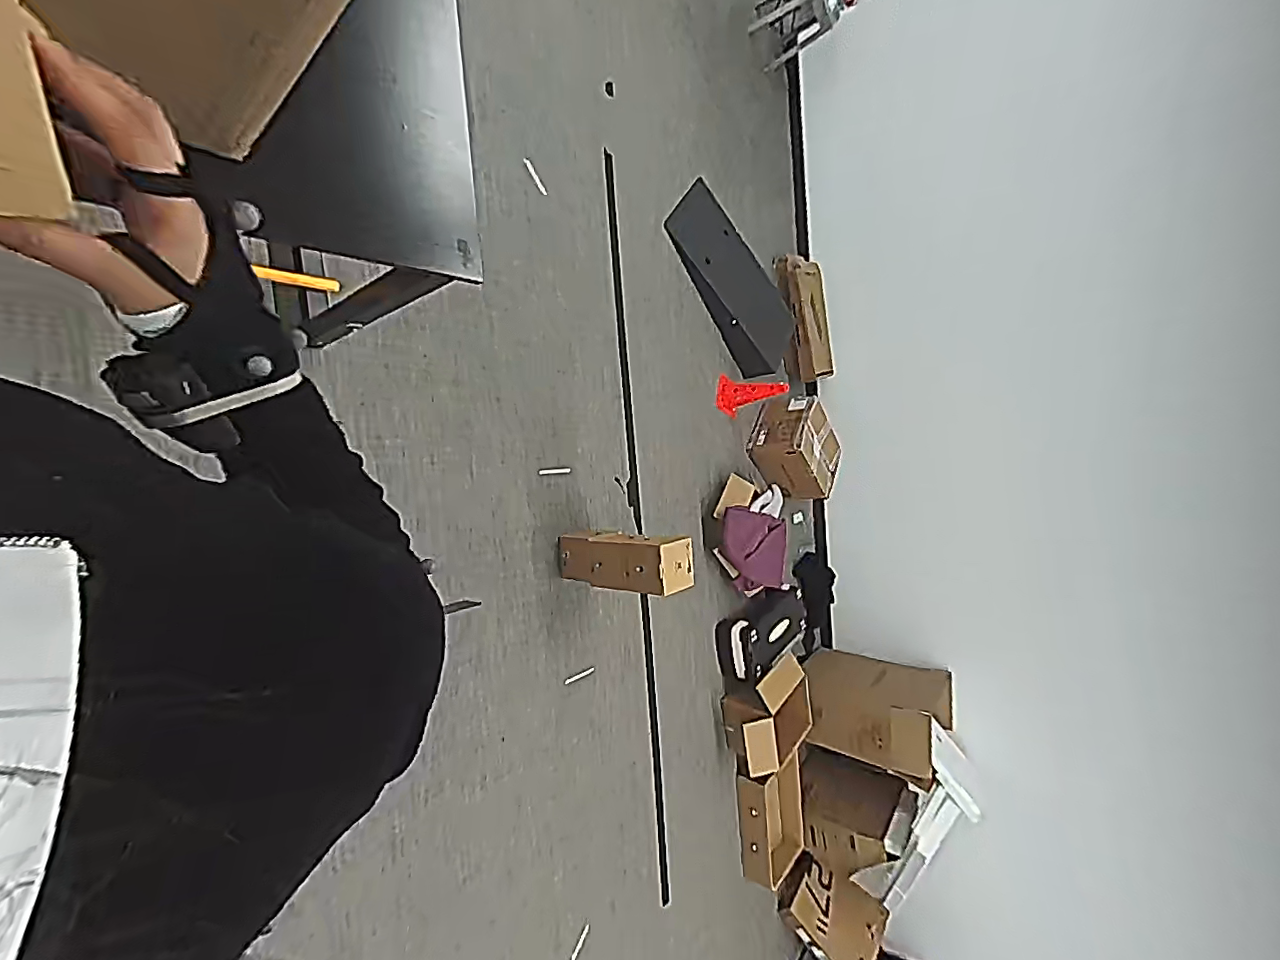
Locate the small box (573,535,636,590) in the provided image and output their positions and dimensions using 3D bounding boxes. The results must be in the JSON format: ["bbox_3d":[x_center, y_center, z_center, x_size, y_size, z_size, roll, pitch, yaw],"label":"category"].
[{"bbox_3d":[-0.128,0.302,2.018,0.179,0.176,0.168,-7,94,-49],"label":"small box"}]

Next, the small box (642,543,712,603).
[{"bbox_3d":[0.118,0.303,1.800,0.179,0.176,0.168,-6,93,-50],"label":"small box"}]

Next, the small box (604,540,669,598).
[{"bbox_3d":[-0.006,0.307,1.906,0.179,0.176,0.168,-7,93,-50],"label":"small box"}]
